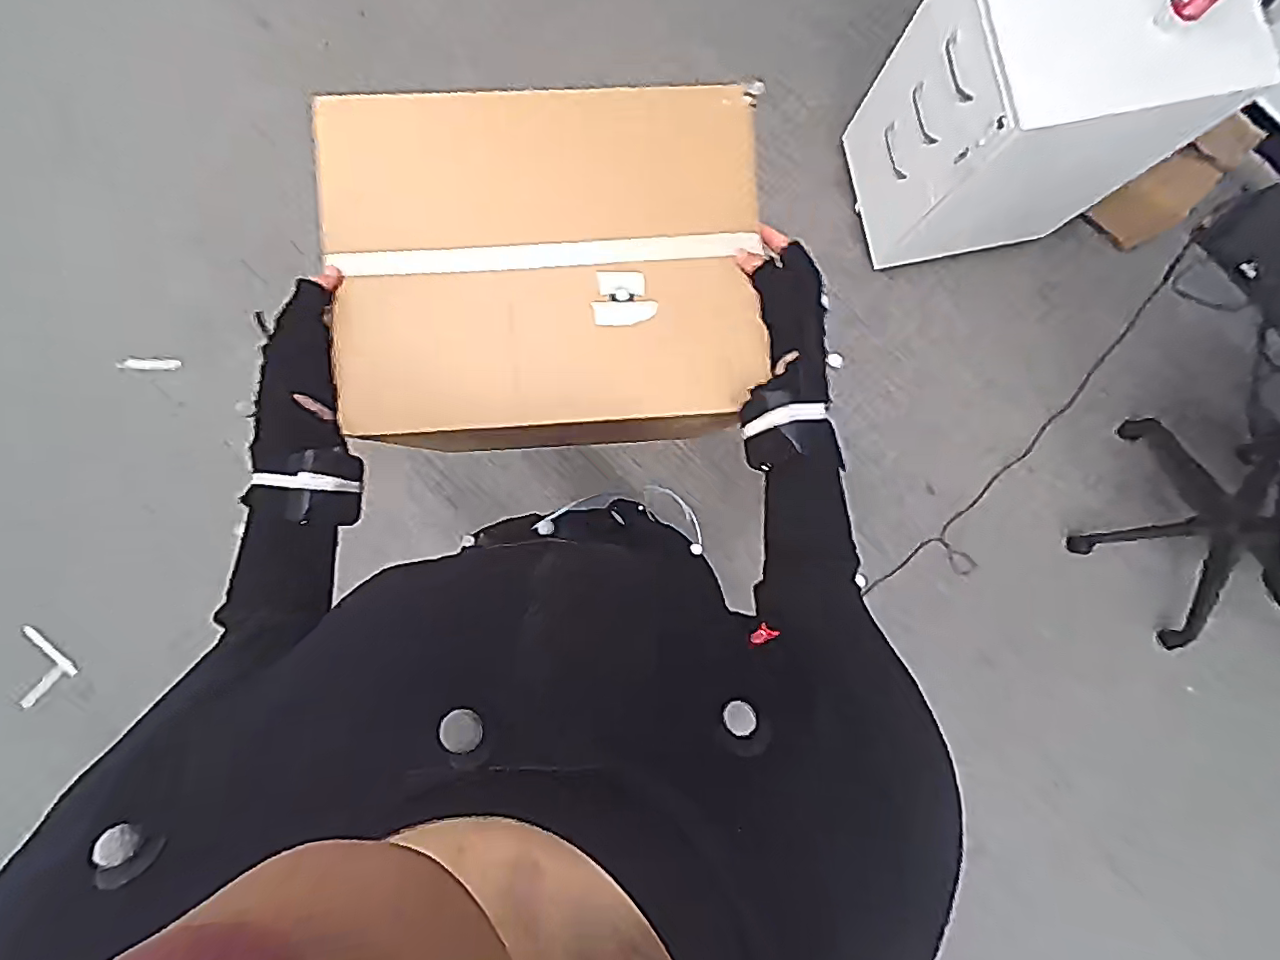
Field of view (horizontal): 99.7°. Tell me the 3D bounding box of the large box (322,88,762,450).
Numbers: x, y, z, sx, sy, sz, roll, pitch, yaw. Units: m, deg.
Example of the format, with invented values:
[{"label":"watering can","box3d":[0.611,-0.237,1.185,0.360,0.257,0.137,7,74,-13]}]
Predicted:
[{"label":"large box","box3d":[-0.100,-0.216,0.669,0.408,0.320,0.320,-5,91,-4]}]
